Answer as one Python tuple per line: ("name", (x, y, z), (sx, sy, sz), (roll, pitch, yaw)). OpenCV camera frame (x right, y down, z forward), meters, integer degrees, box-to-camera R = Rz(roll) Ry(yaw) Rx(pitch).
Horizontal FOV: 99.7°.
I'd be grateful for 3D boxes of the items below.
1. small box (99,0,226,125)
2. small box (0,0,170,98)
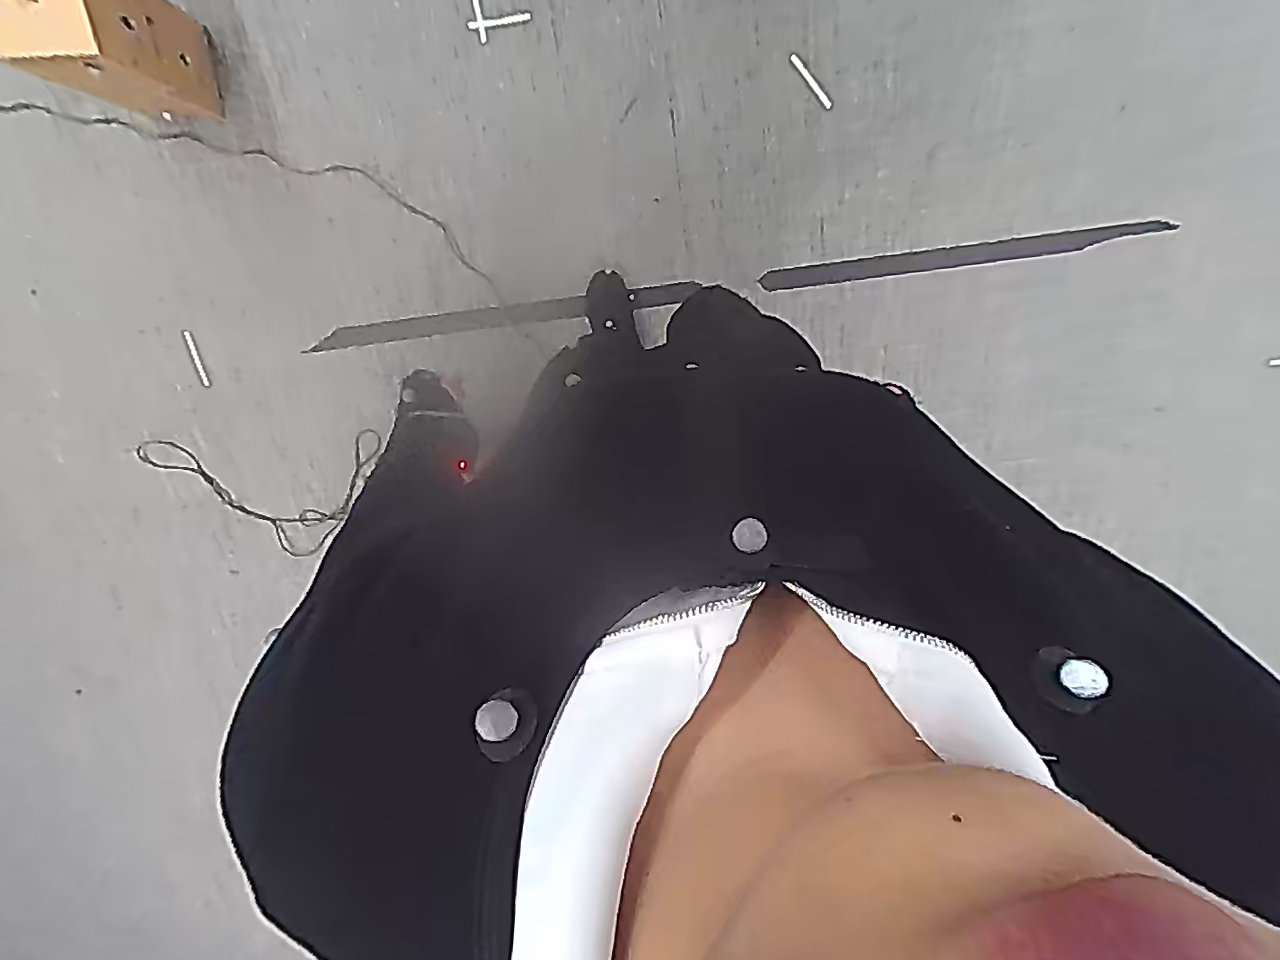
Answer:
("small box", (-0.998, -0.852, 1.101), (0.168, 0.176, 0.179), (-1, 109, -2))
("small box", (-0.981, -0.795, 0.948), (0.179, 0.176, 0.168), (-3, 108, -1))
